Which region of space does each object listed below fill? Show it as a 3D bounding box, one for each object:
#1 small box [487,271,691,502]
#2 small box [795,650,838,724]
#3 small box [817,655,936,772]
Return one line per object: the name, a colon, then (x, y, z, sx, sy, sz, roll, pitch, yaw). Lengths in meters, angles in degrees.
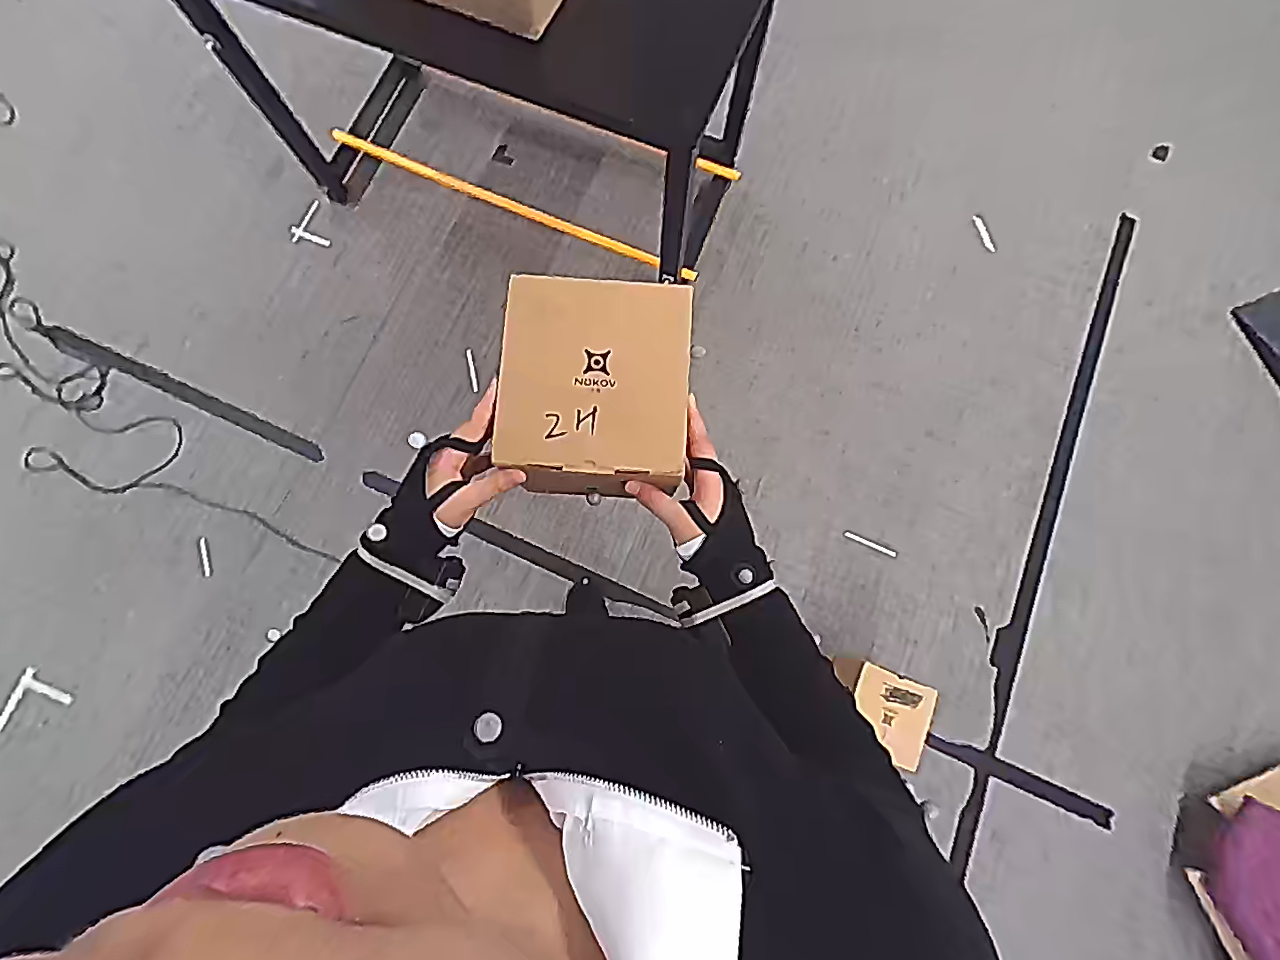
small box: (-0.043, -0.081, 0.541, 0.168, 0.176, 0.179, 3, 80, 0)
small box: (0.518, 0.542, 1.374, 0.179, 0.176, 0.168, 18, 78, 4)
small box: (0.520, 0.511, 1.212, 0.168, 0.176, 0.179, 22, 79, 4)
